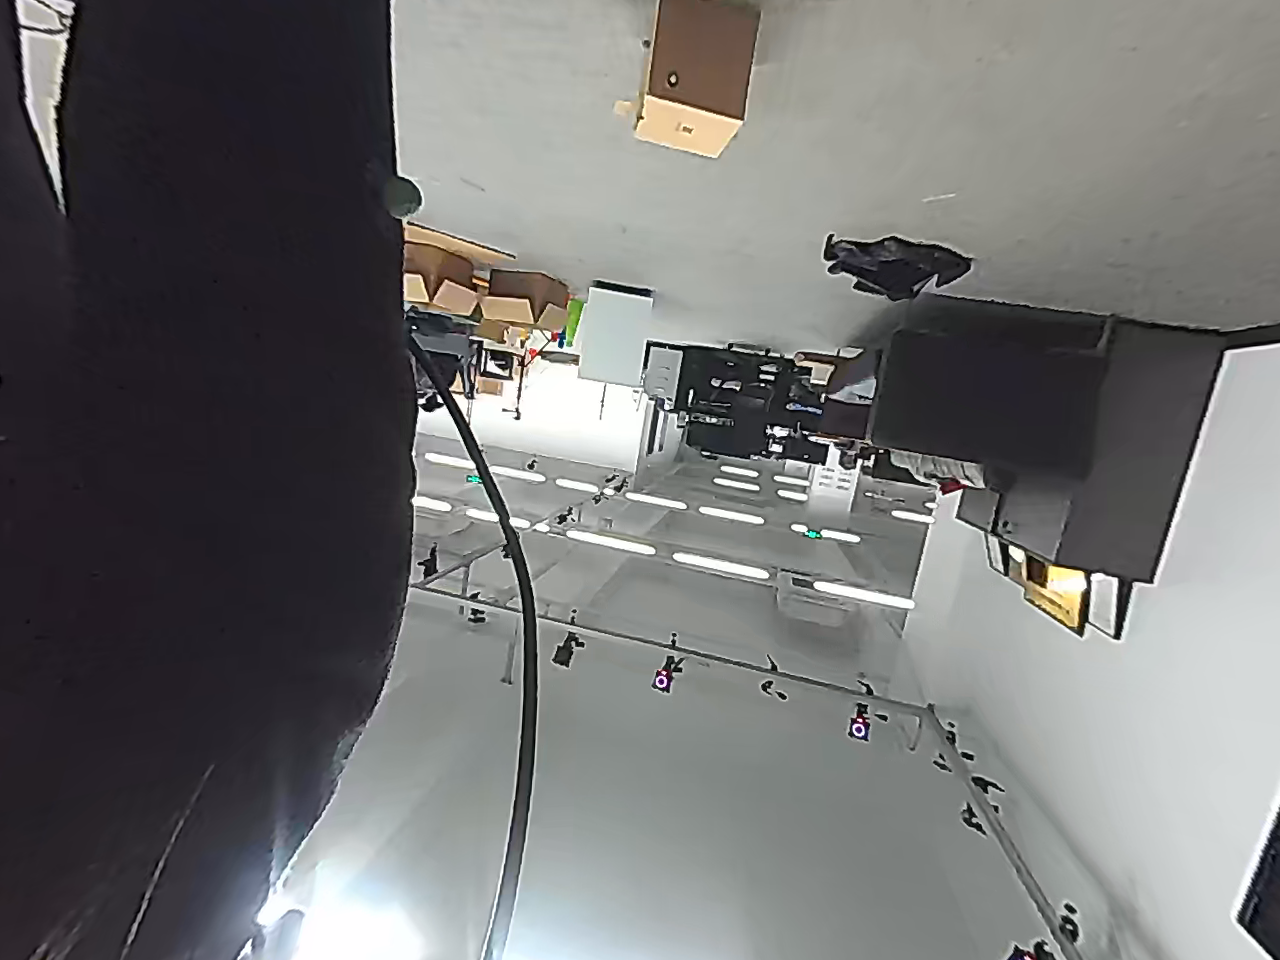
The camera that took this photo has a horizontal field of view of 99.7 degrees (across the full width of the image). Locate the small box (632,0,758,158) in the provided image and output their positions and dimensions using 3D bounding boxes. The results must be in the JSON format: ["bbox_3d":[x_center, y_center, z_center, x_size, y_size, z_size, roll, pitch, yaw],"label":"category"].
[{"bbox_3d":[0.094,-0.714,0.967,0.179,0.176,0.168,8,-171,-11],"label":"small box"}]
